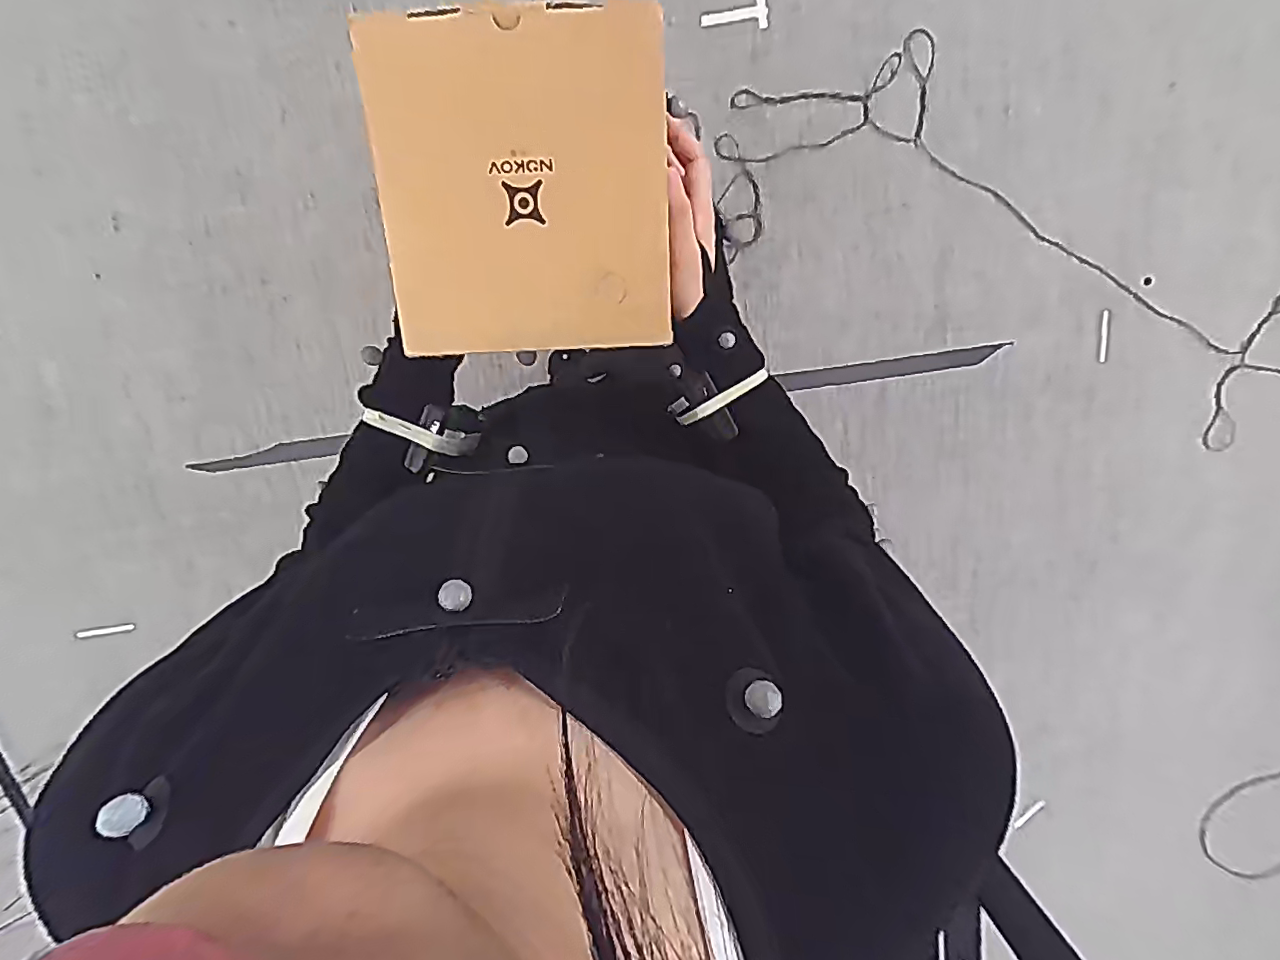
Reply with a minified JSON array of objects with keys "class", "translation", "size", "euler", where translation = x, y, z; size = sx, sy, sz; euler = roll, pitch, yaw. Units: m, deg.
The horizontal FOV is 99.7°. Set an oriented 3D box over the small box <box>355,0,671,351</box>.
[{"class":"small box","translation":[-0.063,-0.190,0.382],"size":[0.168,0.176,0.179],"euler":[-3,107,1]}]
